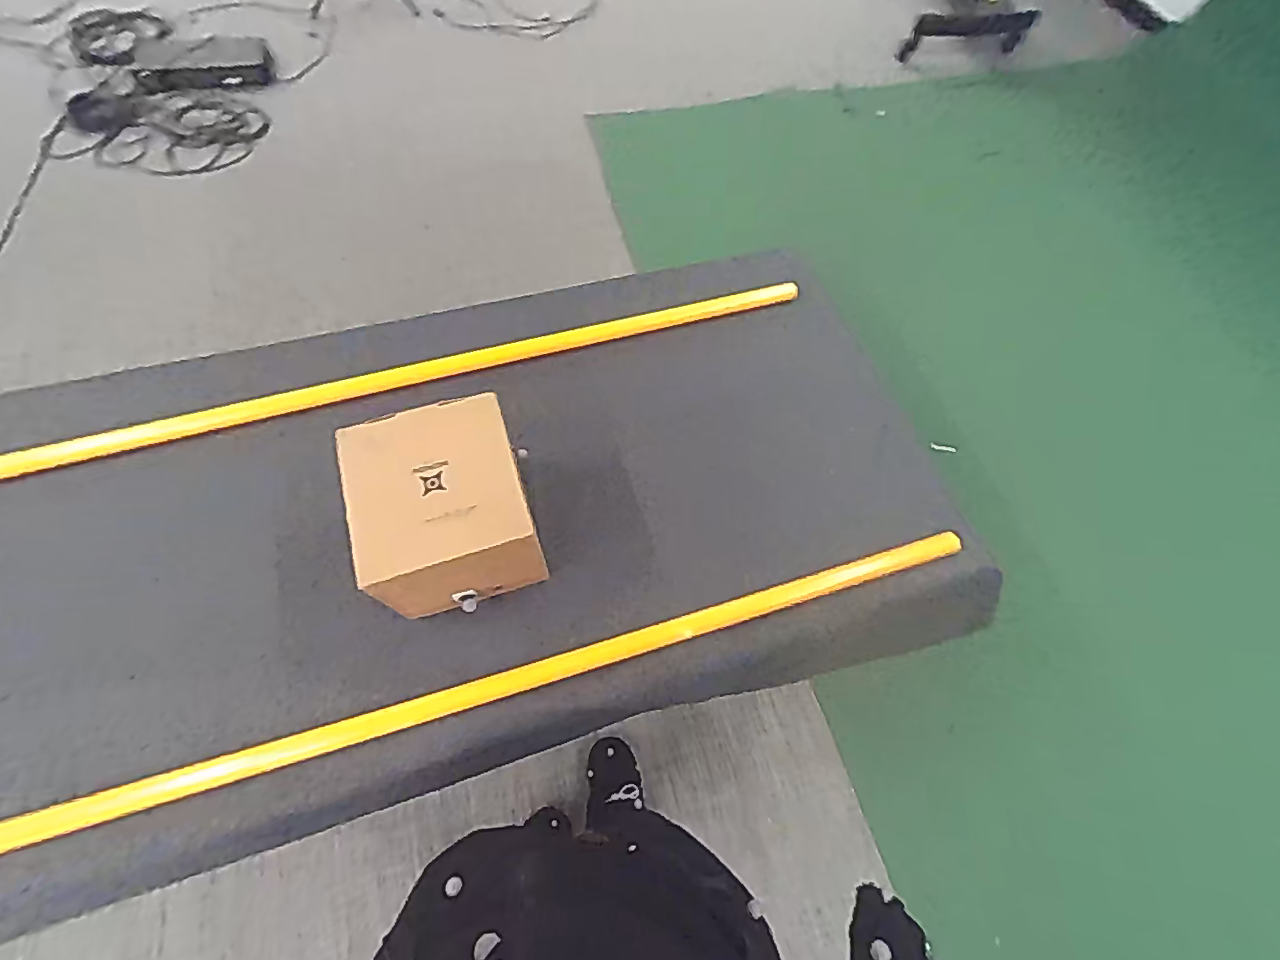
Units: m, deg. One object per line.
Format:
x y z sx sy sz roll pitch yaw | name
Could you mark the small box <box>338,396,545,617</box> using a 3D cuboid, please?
-0.215 0.036 0.618 0.168 0.176 0.179 -18 68 -11 | small box
